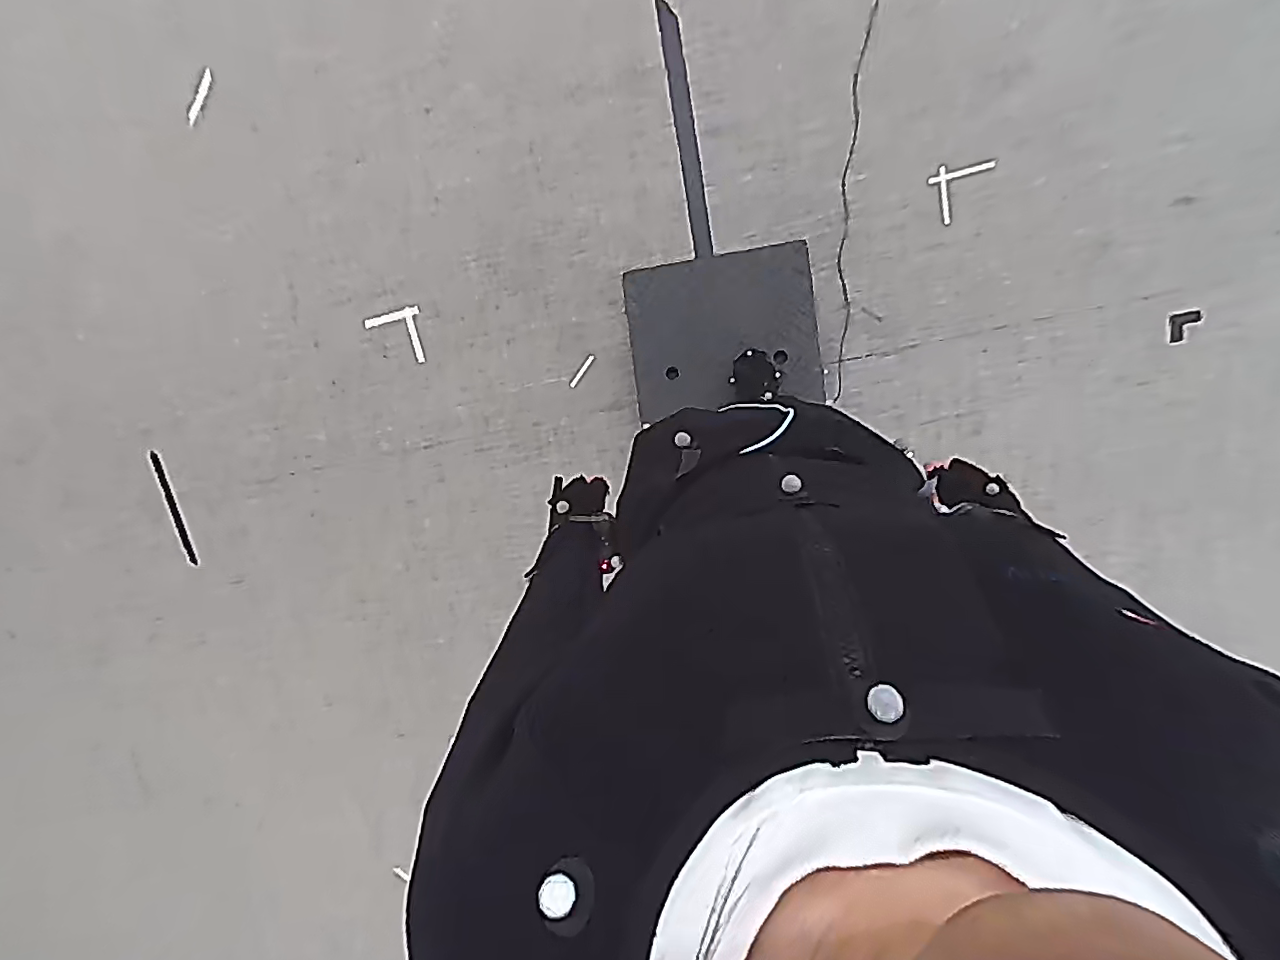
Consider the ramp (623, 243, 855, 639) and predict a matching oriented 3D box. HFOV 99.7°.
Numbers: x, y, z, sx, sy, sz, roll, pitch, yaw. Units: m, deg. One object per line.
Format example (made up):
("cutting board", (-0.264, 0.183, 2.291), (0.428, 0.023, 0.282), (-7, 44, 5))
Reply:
("ramp", (0.251, -0.091, 1.436), (0.509, 0.206, 0.991), (-9, 99, 10))
